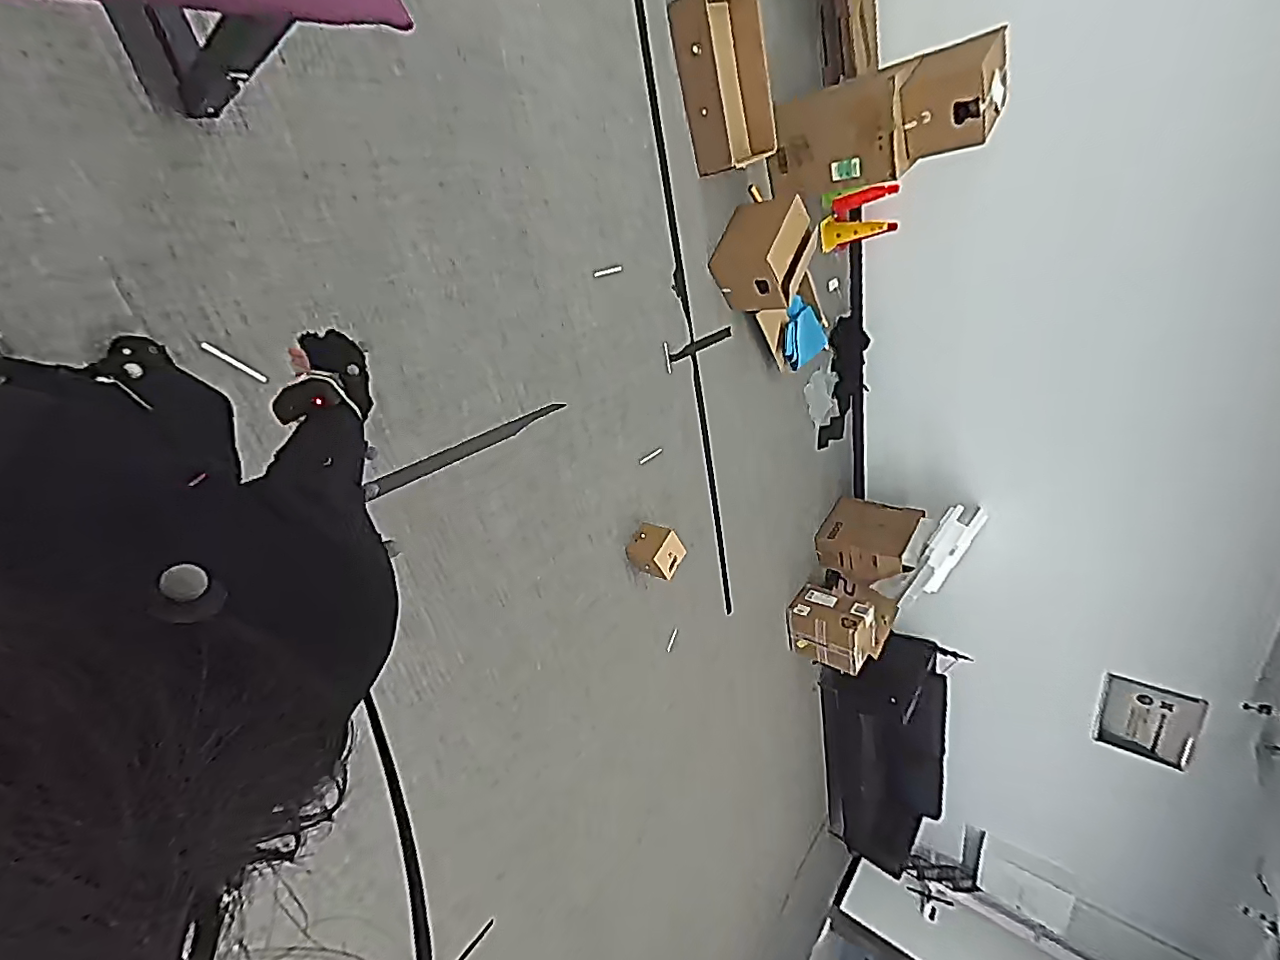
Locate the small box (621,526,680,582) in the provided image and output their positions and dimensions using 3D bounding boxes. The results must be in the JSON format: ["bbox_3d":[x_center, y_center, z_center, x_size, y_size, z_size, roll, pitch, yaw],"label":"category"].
[{"bbox_3d":[0.045,0.328,2.428,0.168,0.176,0.179,-55,134,-26],"label":"small box"}]
